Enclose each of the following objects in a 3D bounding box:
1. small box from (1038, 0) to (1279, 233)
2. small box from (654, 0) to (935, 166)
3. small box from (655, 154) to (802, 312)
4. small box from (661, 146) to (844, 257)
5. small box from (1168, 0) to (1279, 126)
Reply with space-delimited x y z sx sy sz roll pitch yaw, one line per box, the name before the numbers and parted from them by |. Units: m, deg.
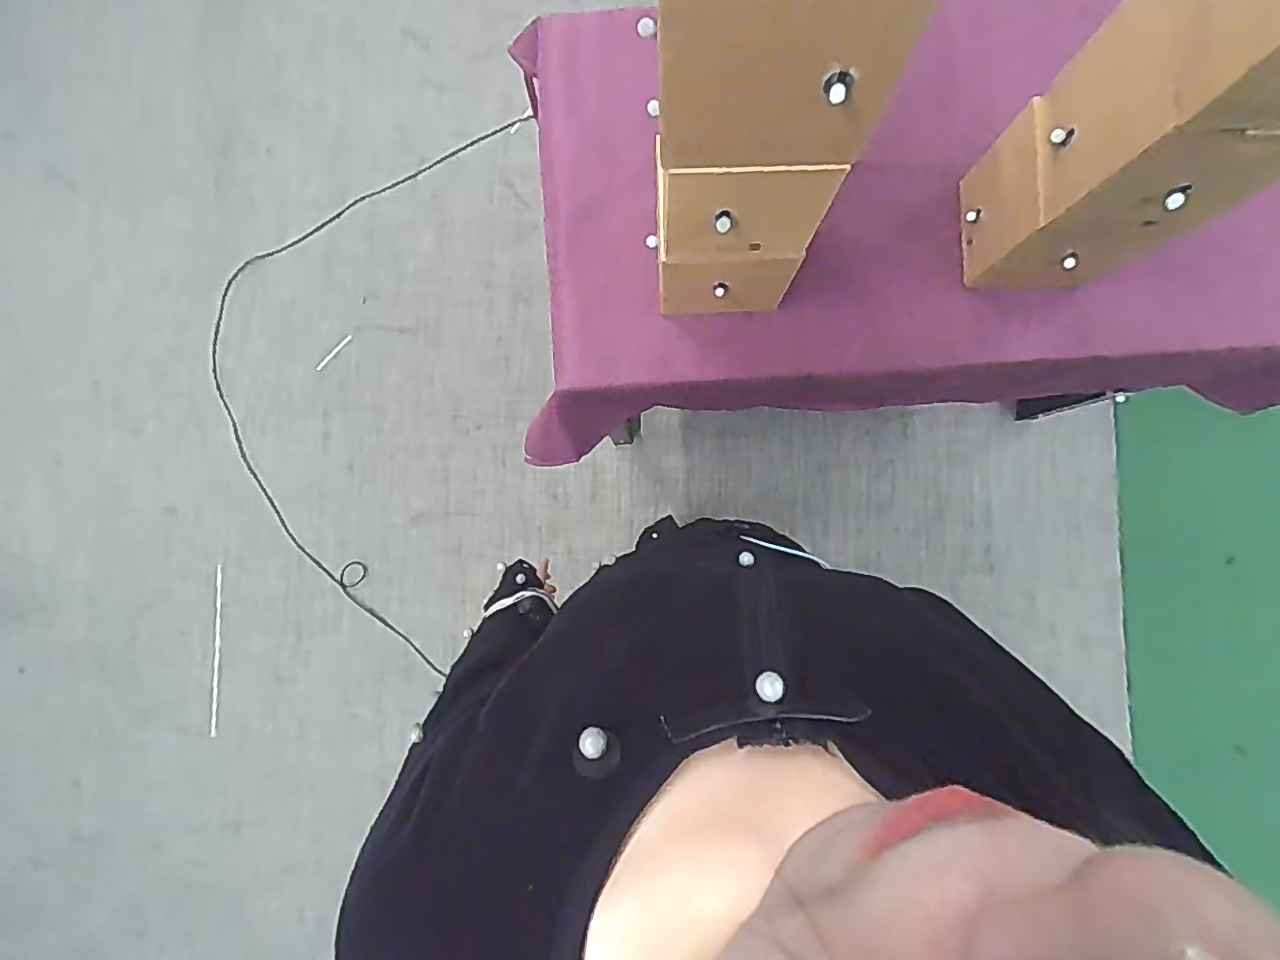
small box | 0.550 -0.379 0.559 0.168 0.176 0.179 3 87 2
small box | 0.100 -0.368 0.412 0.179 0.176 0.168 0 84 3
small box | 0.110 -0.340 0.736 0.179 0.176 0.168 -1 85 2
small box | 0.107 -0.354 0.574 0.168 0.176 0.179 0 84 2
small box | 0.542 -0.390 0.394 0.168 0.176 0.179 2 85 2
